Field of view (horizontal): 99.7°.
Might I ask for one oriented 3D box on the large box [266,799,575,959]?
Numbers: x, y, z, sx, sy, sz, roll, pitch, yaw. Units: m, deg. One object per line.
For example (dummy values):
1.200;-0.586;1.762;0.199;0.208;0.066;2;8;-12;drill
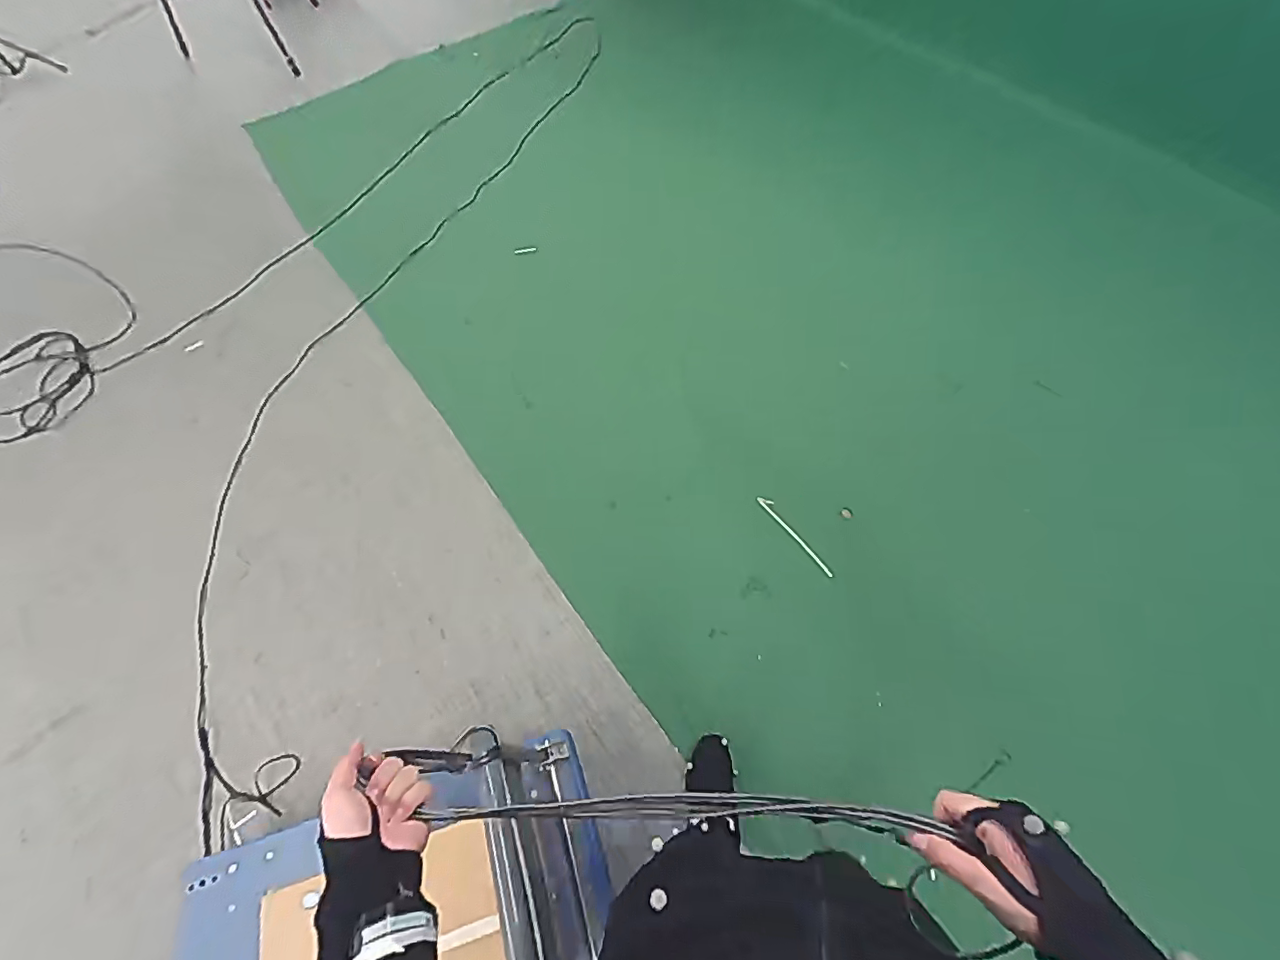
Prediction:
-0.369;0.824;0.973;0.408;0.320;0.320;-19;62;-5;large box
